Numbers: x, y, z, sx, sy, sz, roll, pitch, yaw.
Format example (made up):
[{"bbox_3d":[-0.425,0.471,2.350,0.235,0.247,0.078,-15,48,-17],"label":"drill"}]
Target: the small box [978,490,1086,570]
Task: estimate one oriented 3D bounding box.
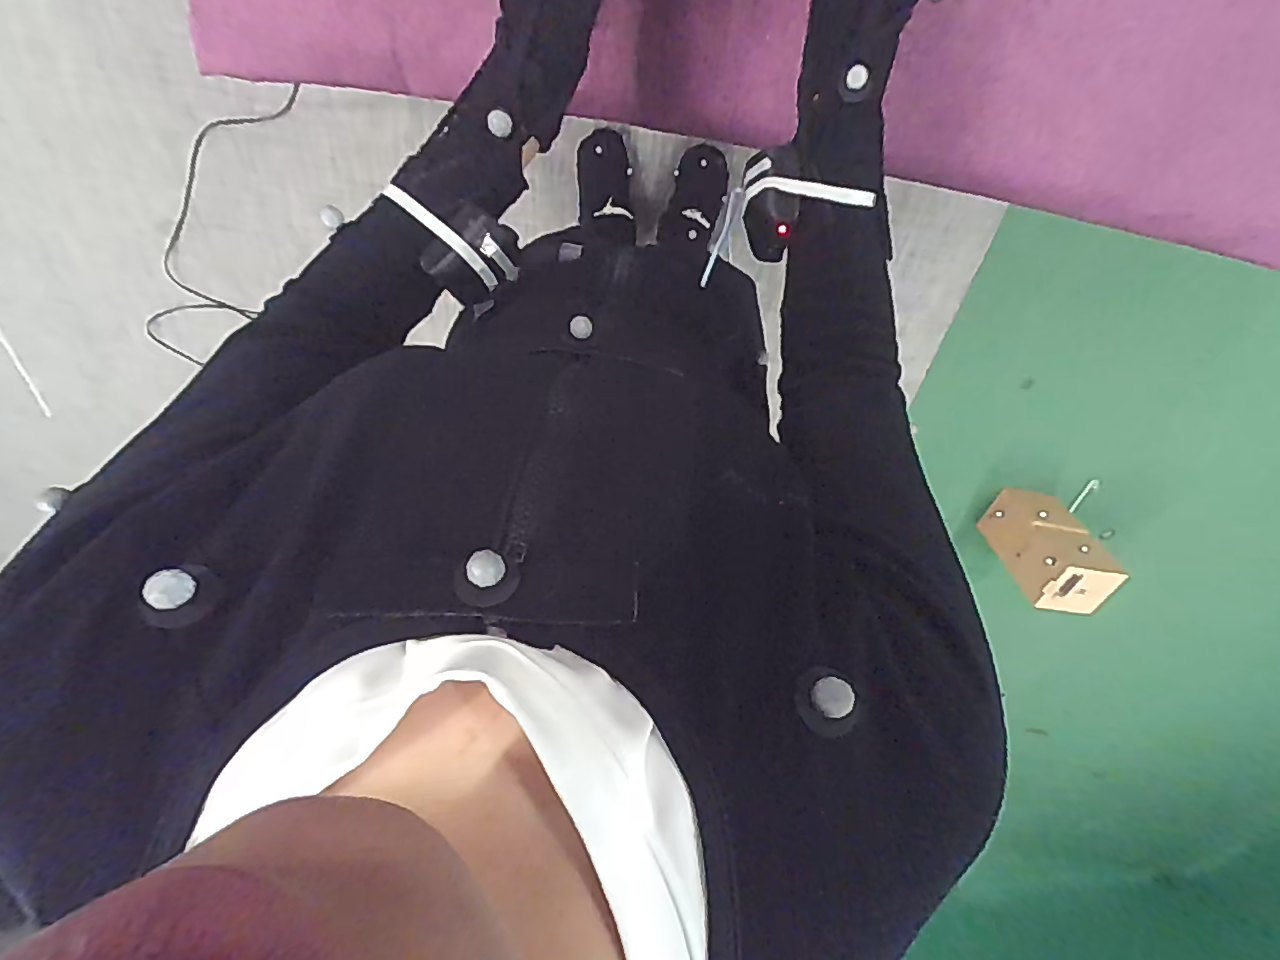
[{"bbox_3d":[1.199,0.151,1.668,0.179,0.176,0.168,10,127,-4],"label":"small box"}]
